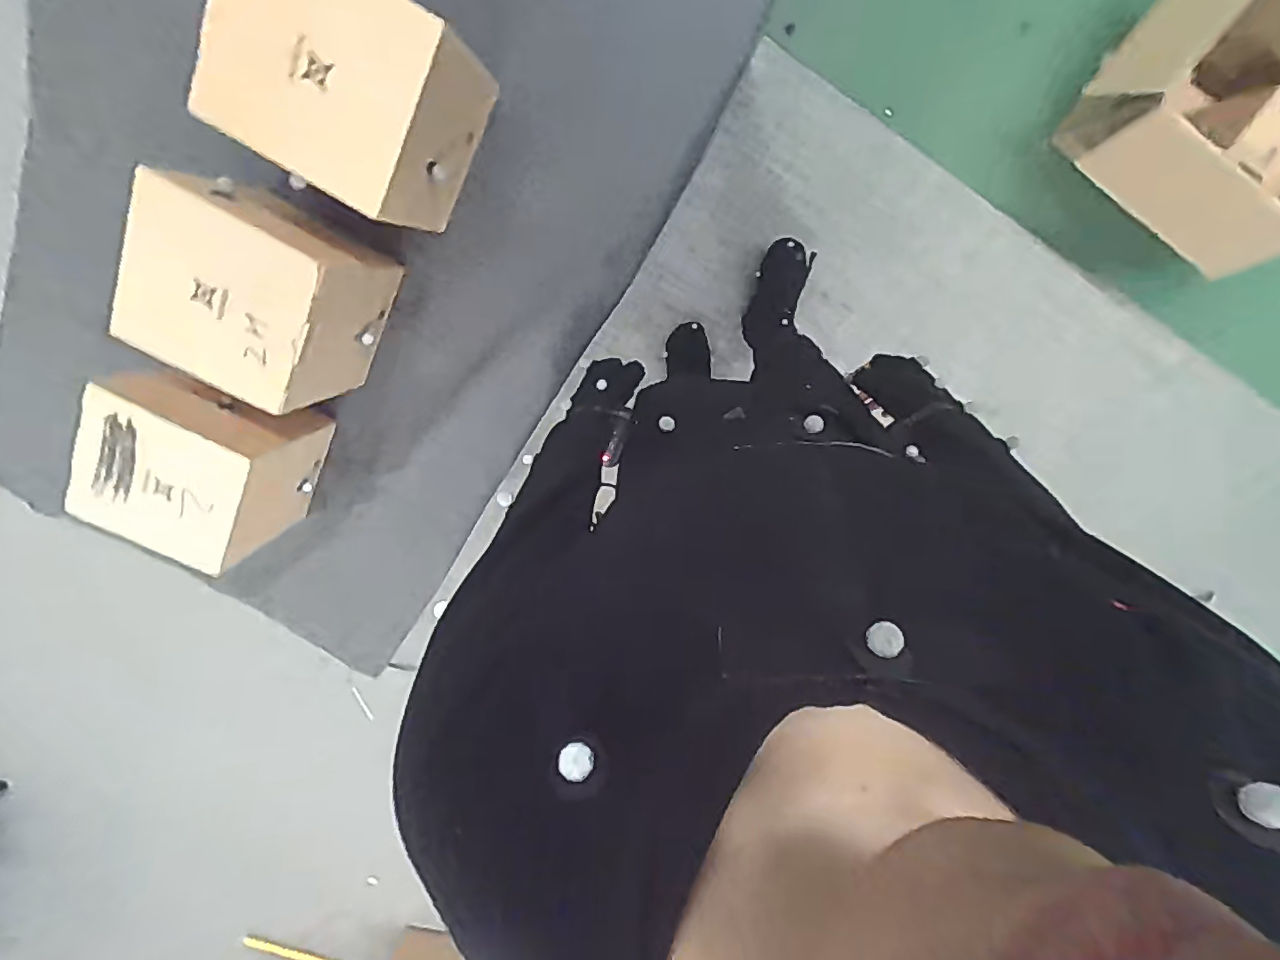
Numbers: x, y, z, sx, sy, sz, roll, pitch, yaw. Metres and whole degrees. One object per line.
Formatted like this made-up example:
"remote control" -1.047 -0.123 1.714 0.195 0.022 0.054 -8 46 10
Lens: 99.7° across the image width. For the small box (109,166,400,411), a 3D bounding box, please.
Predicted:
"small box" -0.402 -0.201 0.588 0.179 0.176 0.168 28 110 -8
